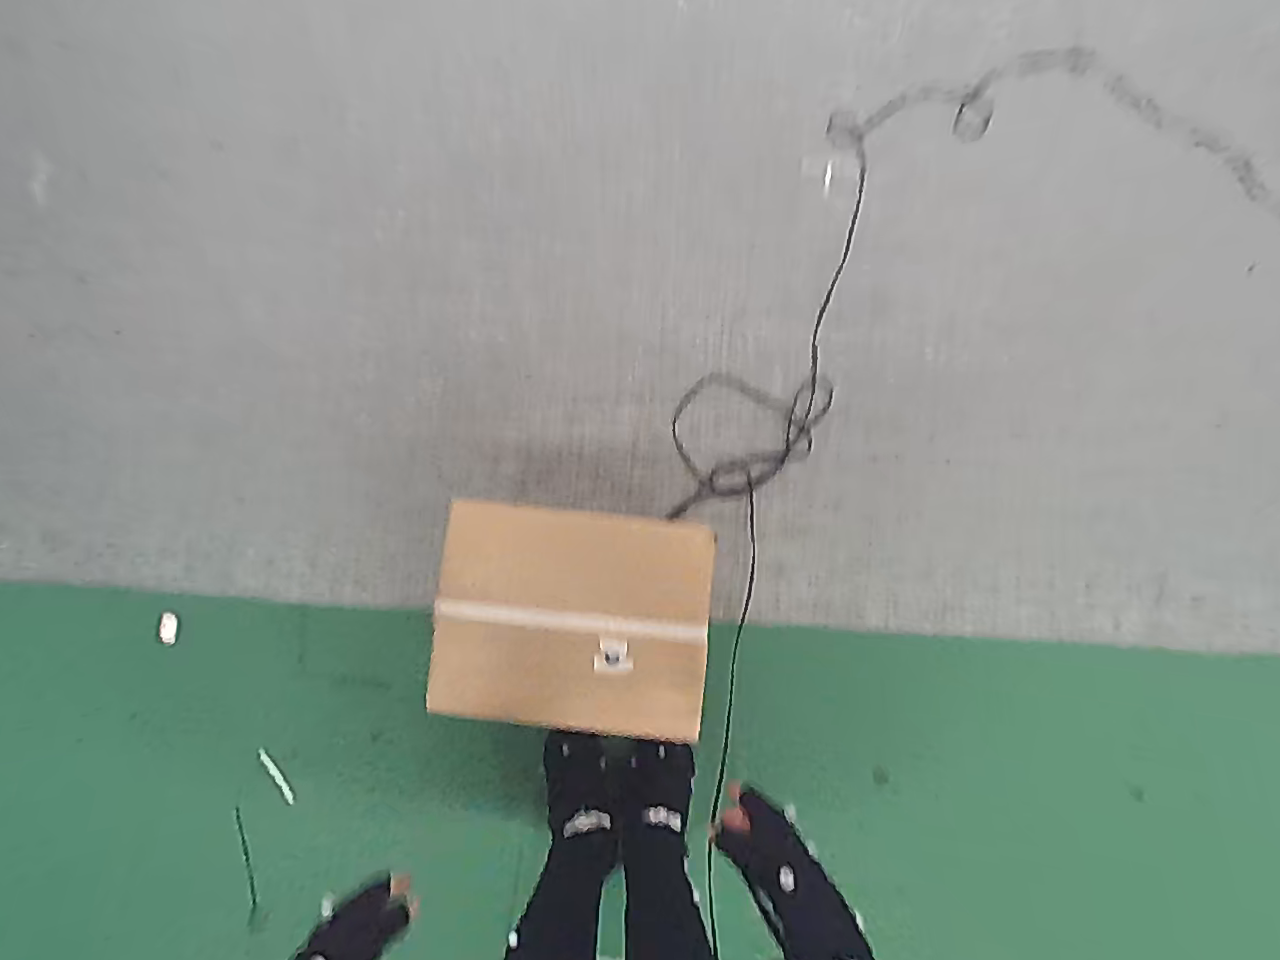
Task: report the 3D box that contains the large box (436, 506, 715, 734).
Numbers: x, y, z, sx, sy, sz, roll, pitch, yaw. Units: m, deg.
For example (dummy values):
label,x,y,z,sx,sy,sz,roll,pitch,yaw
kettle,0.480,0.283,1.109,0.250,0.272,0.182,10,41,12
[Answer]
label,x,y,z,sx,sy,sz,roll,pitch,yaw
large box,-0.098,0.224,0.964,0.408,0.320,0.320,6,85,0
